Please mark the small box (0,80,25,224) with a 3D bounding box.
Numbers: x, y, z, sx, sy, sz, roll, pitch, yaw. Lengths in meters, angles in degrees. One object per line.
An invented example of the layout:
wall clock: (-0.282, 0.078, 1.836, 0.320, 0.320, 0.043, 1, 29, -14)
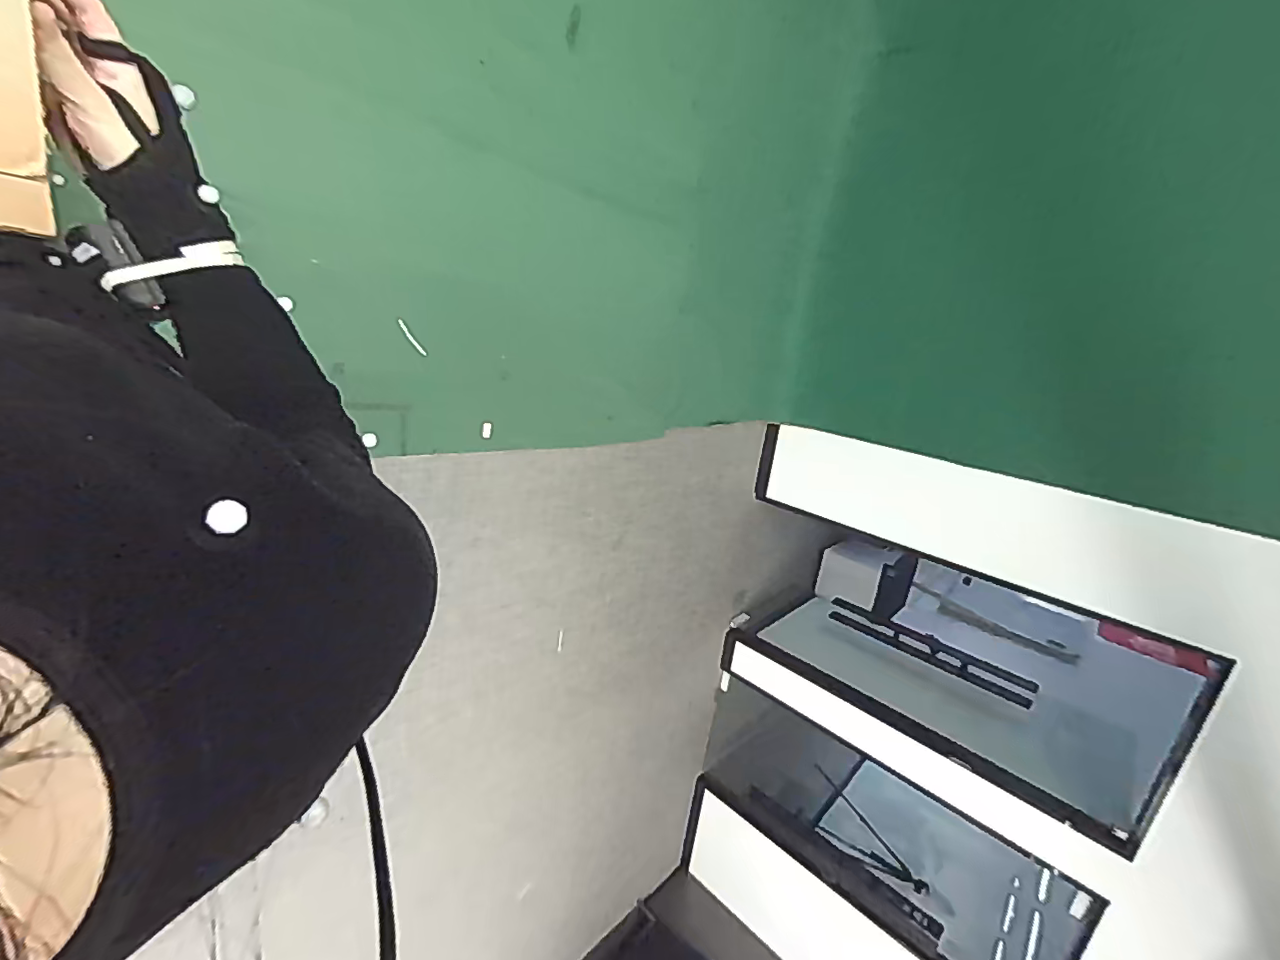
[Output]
small box: (-0.954, -0.452, 0.714, 0.168, 0.176, 0.179, -10, 114, -49)
